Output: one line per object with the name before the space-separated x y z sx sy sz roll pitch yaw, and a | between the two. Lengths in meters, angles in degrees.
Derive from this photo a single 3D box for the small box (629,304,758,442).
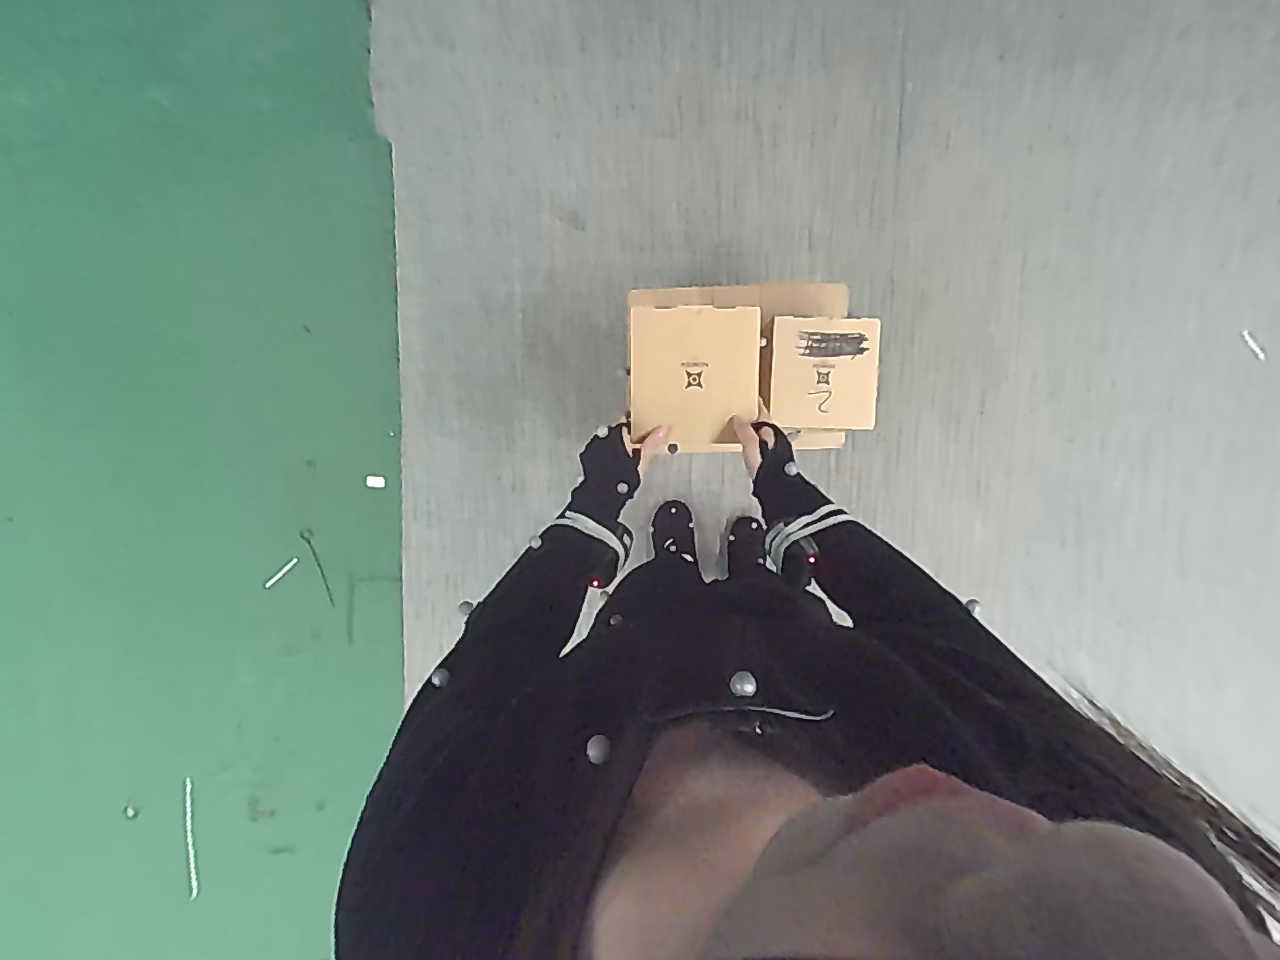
small box | 0.069 -0.147 0.777 0.168 0.176 0.179 0 96 0
